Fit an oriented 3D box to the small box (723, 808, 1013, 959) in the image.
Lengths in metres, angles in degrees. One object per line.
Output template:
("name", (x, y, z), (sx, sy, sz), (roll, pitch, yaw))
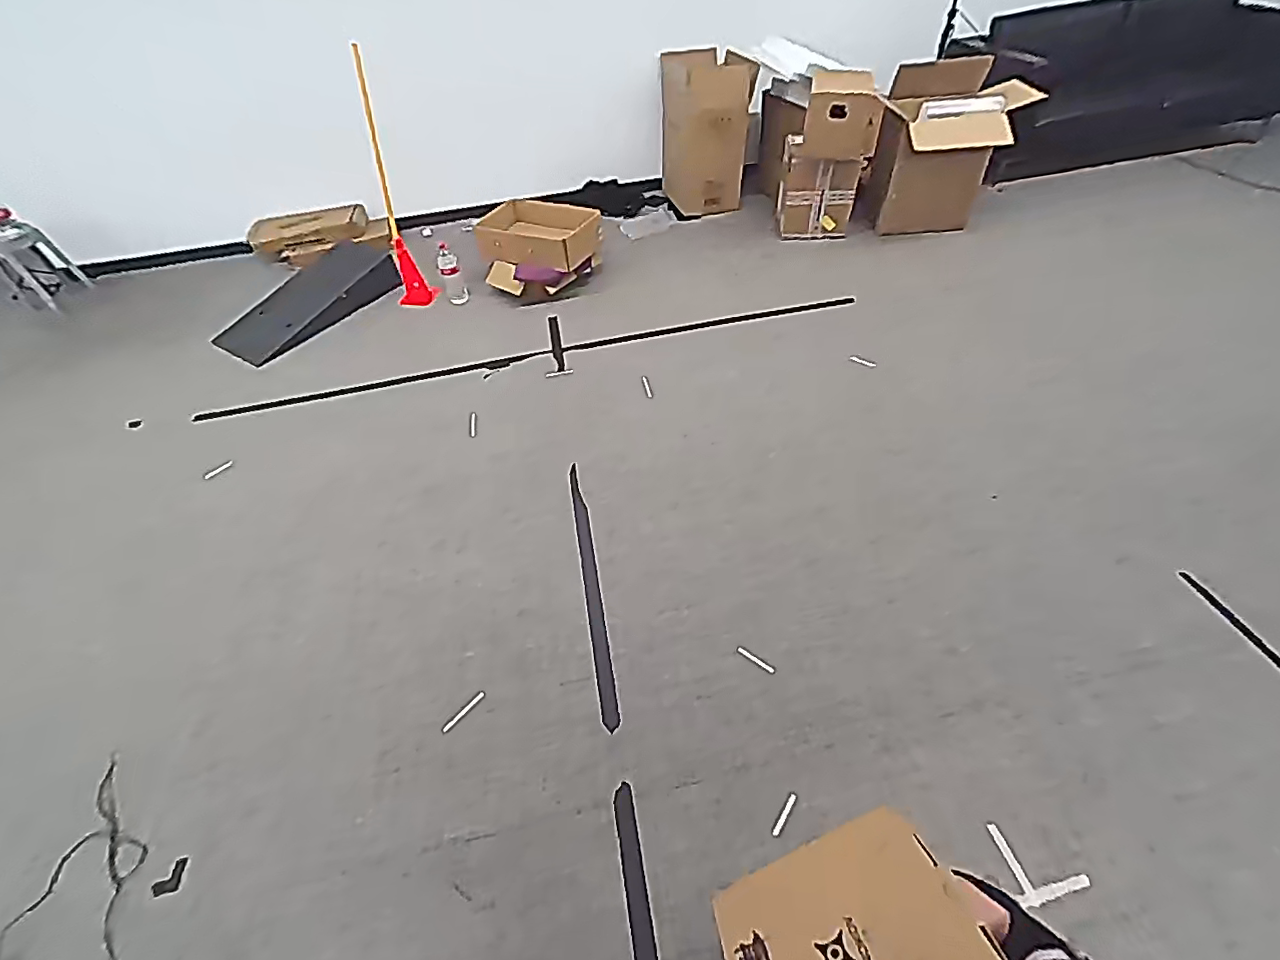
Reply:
("small box", (0.189, 0.403, 0.401), (0.179, 0.176, 0.168), (-27, 10, 0))
